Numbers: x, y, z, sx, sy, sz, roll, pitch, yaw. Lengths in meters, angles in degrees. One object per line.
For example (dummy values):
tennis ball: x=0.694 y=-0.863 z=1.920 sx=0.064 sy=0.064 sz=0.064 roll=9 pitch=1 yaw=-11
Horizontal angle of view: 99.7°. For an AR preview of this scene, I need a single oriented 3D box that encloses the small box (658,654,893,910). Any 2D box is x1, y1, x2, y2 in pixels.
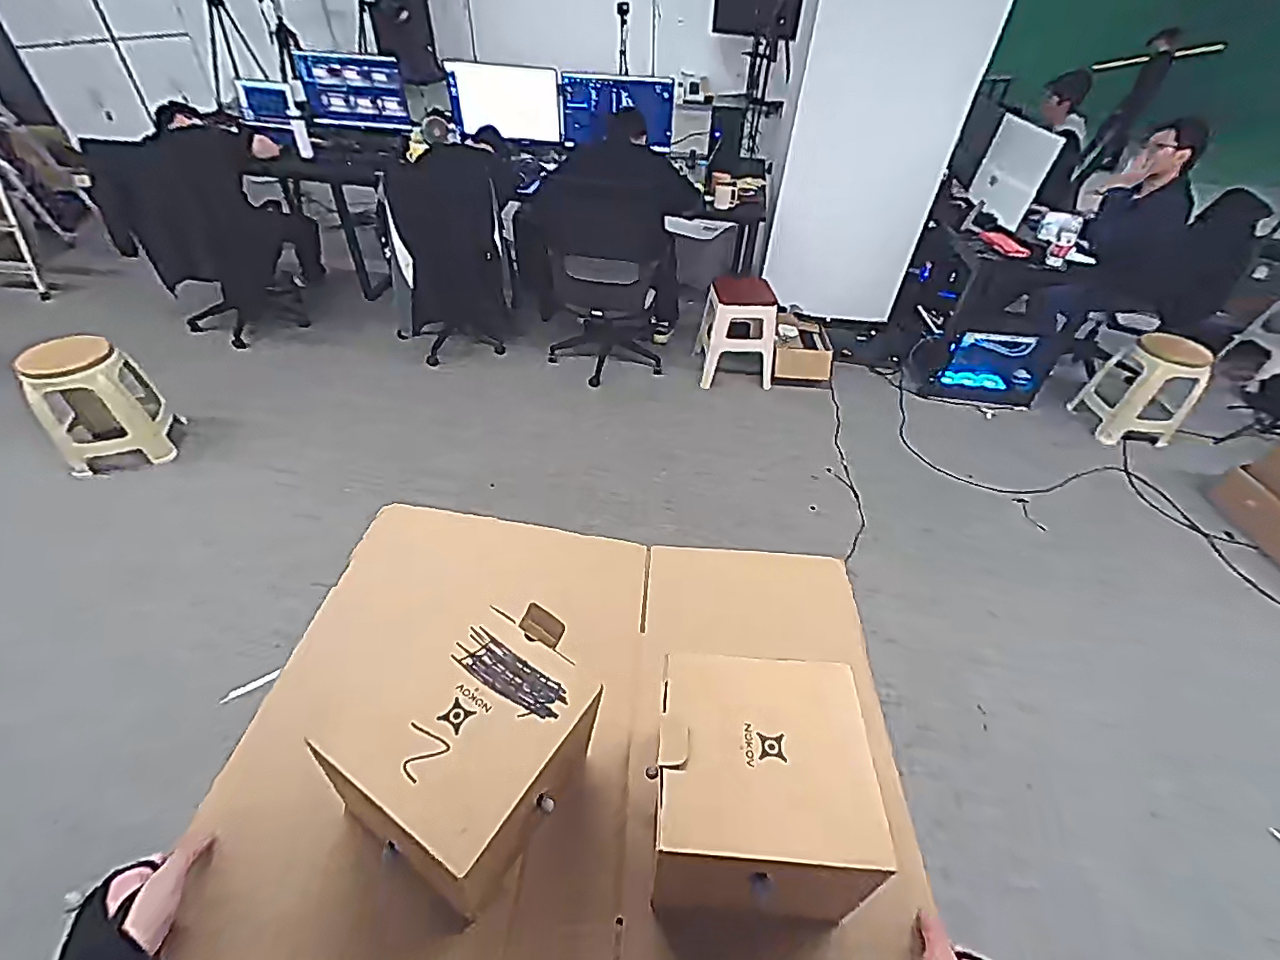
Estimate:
small box: x=0.110 y=0.290 z=0.519 sx=0.179 sy=0.176 sz=0.168 roll=2 pitch=41 yaw=4
